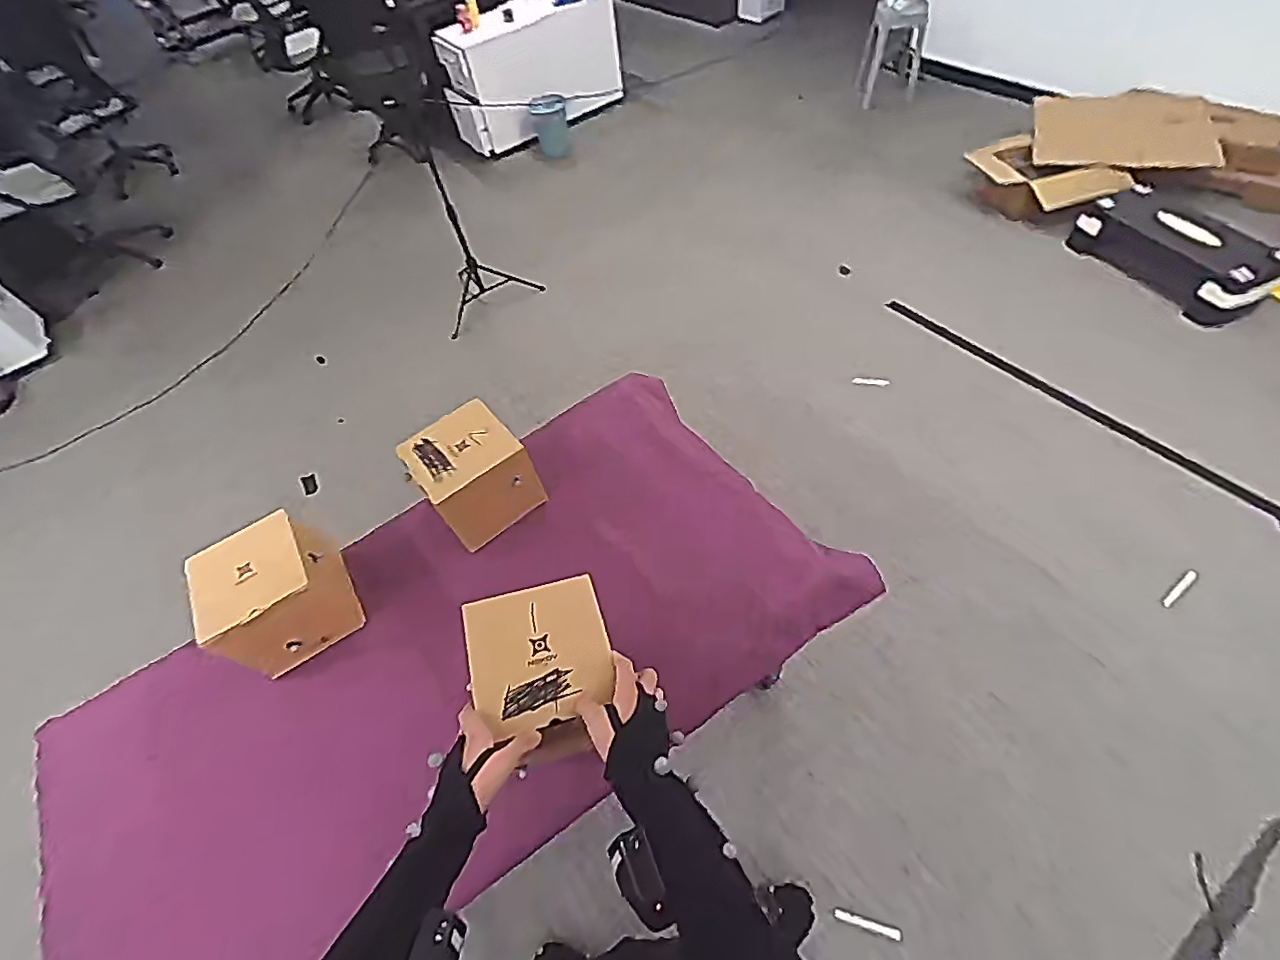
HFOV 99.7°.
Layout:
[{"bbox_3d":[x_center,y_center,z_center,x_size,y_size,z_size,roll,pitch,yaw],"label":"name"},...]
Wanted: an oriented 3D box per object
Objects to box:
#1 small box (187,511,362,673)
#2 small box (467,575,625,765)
[{"bbox_3d":[-0.605,0.191,0.906,0.168,0.176,0.179,-32,58,-14],"label":"small box"},{"bbox_3d":[-0.120,0.254,0.707,0.168,0.176,0.179,-11,54,-13],"label":"small box"}]
